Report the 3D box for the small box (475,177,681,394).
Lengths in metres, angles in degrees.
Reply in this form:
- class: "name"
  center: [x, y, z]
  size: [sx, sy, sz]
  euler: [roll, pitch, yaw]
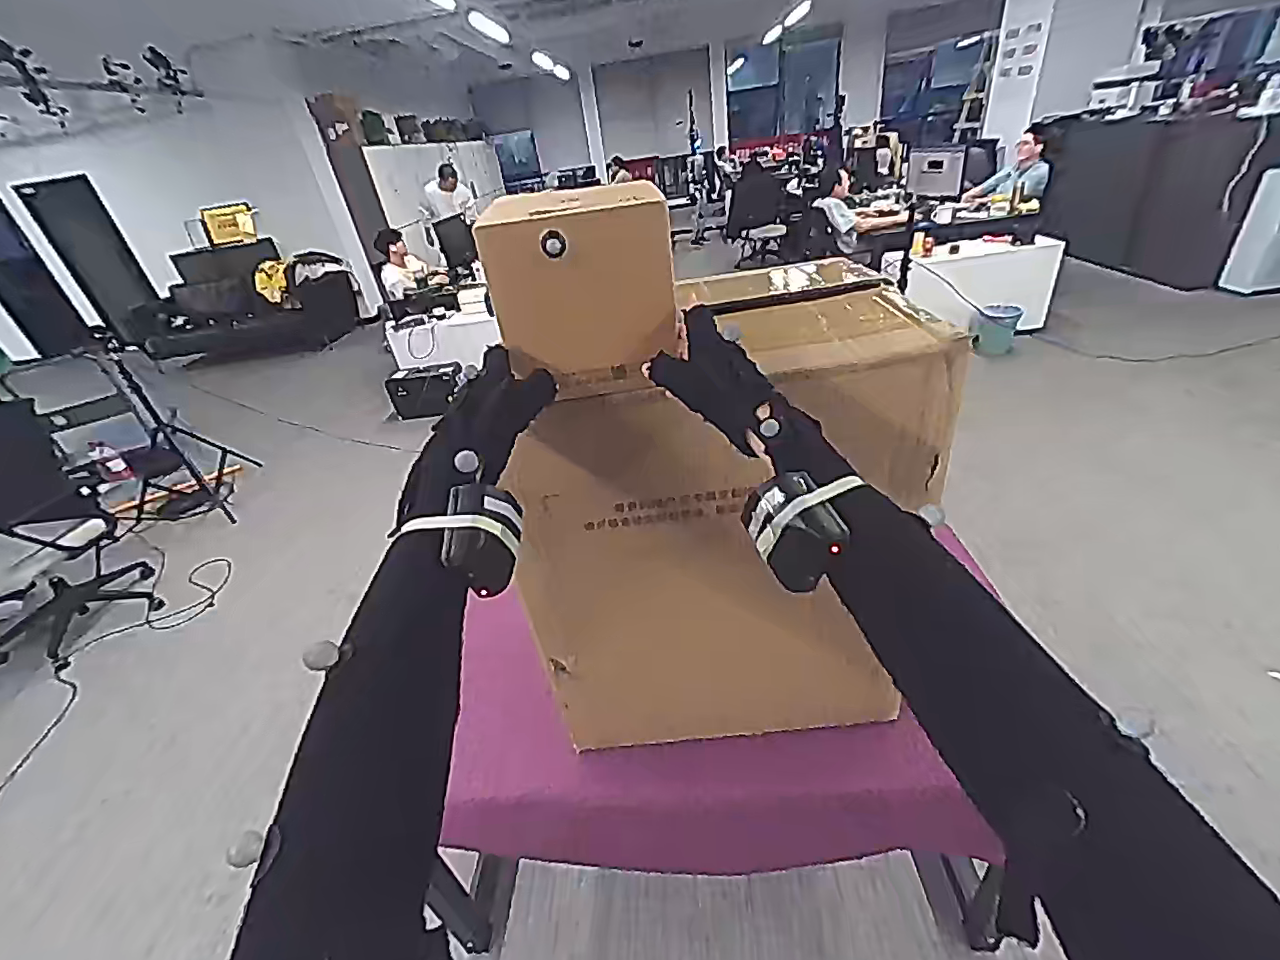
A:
- class: "small box"
  center: [-0.053, -0.204, 0.557]
  size: [0.168, 0.176, 0.179]
  euler: [-9, 33, 0]
